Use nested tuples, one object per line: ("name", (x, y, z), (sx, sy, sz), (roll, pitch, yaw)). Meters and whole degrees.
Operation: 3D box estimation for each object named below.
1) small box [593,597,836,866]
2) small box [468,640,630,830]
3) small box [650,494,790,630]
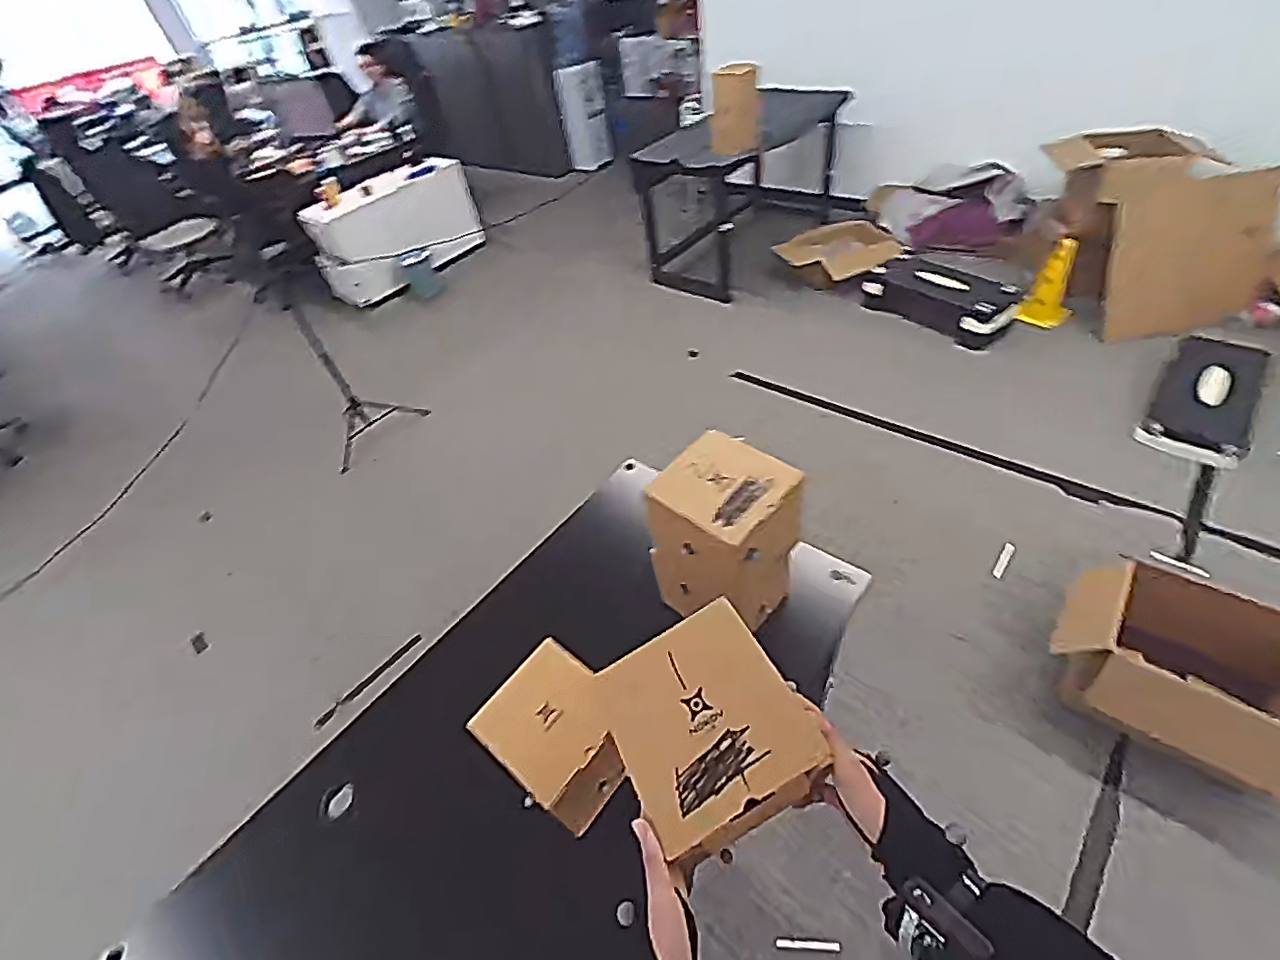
("small box", (0.079, 0.258, 0.556), (0.168, 0.176, 0.179), (-29, 53, -4))
("small box", (-0.117, 0.383, 0.809), (0.179, 0.176, 0.168), (26, 57, 31))
("small box", (0.143, 0.163, 0.958), (0.179, 0.176, 0.168), (32, 61, 34))
